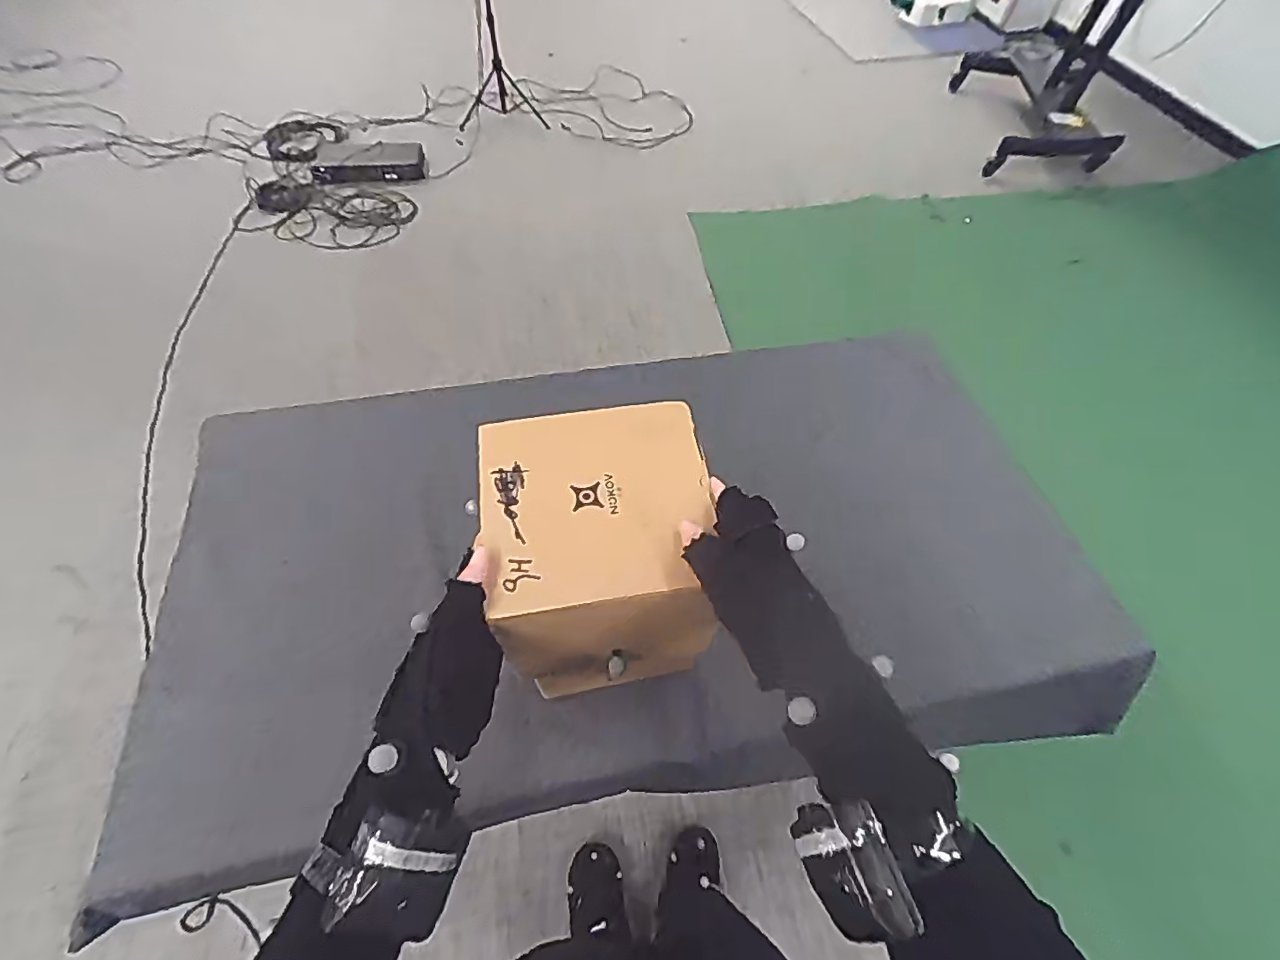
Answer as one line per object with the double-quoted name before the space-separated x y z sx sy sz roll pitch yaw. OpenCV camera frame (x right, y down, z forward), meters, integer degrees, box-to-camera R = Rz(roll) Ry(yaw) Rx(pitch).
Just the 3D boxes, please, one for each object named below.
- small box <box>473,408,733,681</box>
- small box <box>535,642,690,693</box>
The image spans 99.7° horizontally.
"small box" -0.038 0.062 0.474 0.179 0.176 0.168 -10 58 -8
"small box" -0.044 0.131 0.621 0.179 0.176 0.168 -9 58 -7
